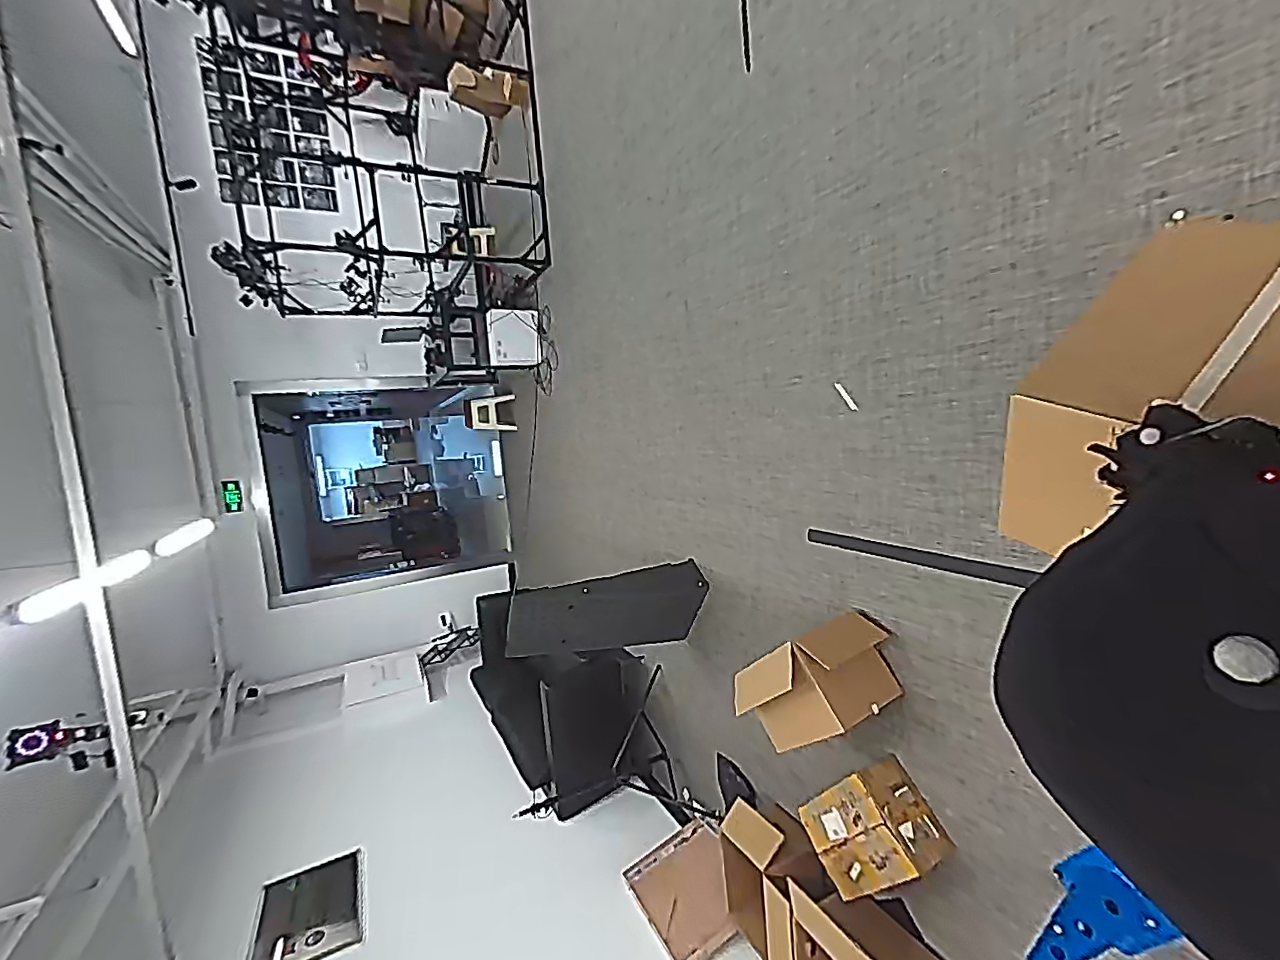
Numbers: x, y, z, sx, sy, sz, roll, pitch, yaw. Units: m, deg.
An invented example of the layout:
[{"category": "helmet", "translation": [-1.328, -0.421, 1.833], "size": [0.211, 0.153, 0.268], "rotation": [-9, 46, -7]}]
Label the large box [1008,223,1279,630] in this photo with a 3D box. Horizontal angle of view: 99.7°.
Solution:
[{"category": "large box", "translation": [0.769, -0.088, 0.732], "size": [0.320, 0.408, 0.320], "rotation": [34, 161, 46]}]
